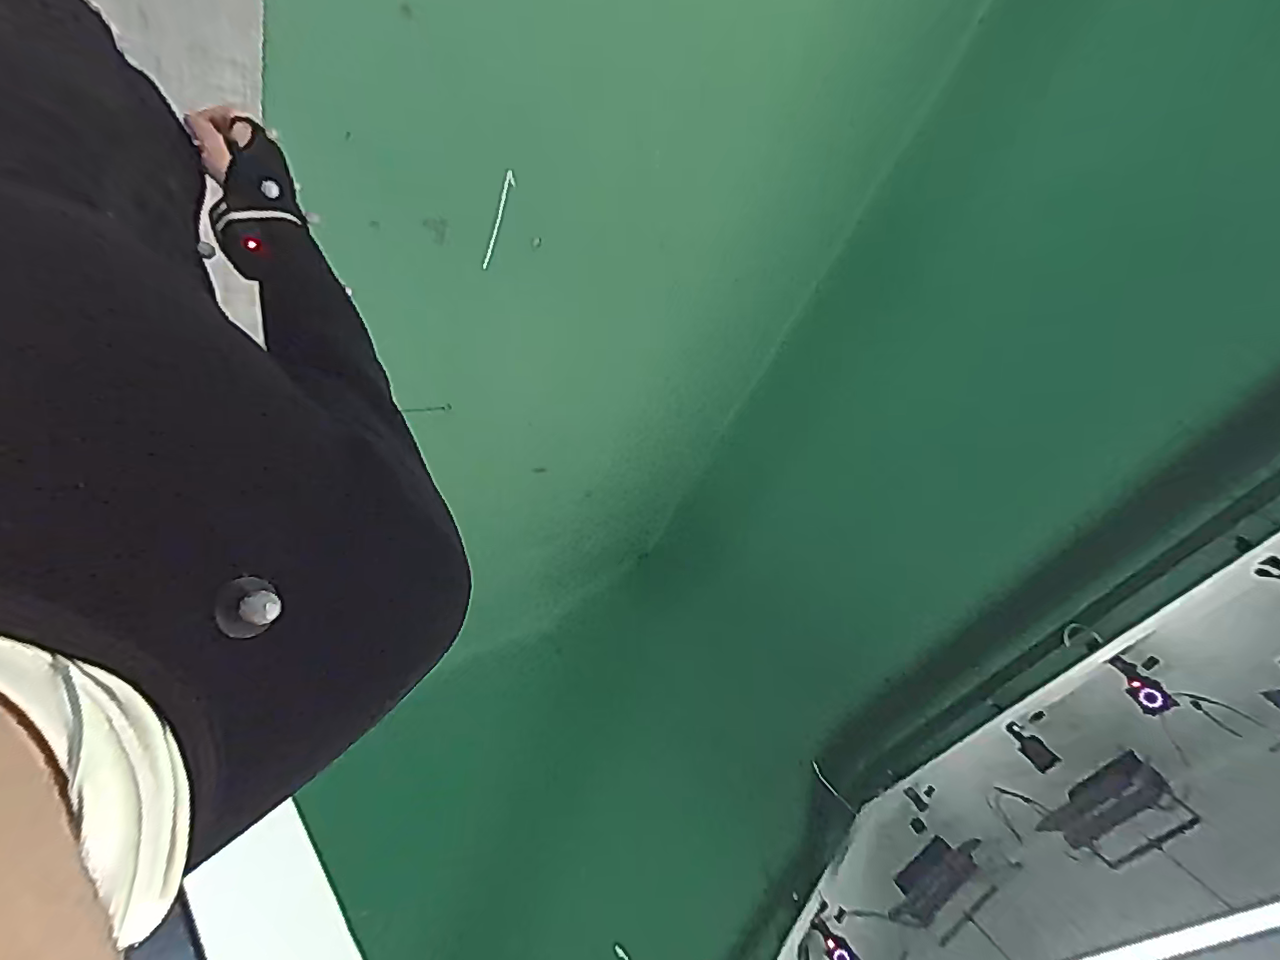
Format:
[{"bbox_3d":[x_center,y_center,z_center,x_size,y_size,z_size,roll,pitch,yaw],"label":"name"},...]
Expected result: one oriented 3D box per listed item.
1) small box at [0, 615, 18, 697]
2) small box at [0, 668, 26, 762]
[{"bbox_3d":[-1.661,0.447,1.315,0.168,0.176,0.179,-12,138,-51],"label":"small box"},{"bbox_3d":[-1.563,0.561,1.245,0.168,0.176,0.179,-13,141,-50],"label":"small box"}]
